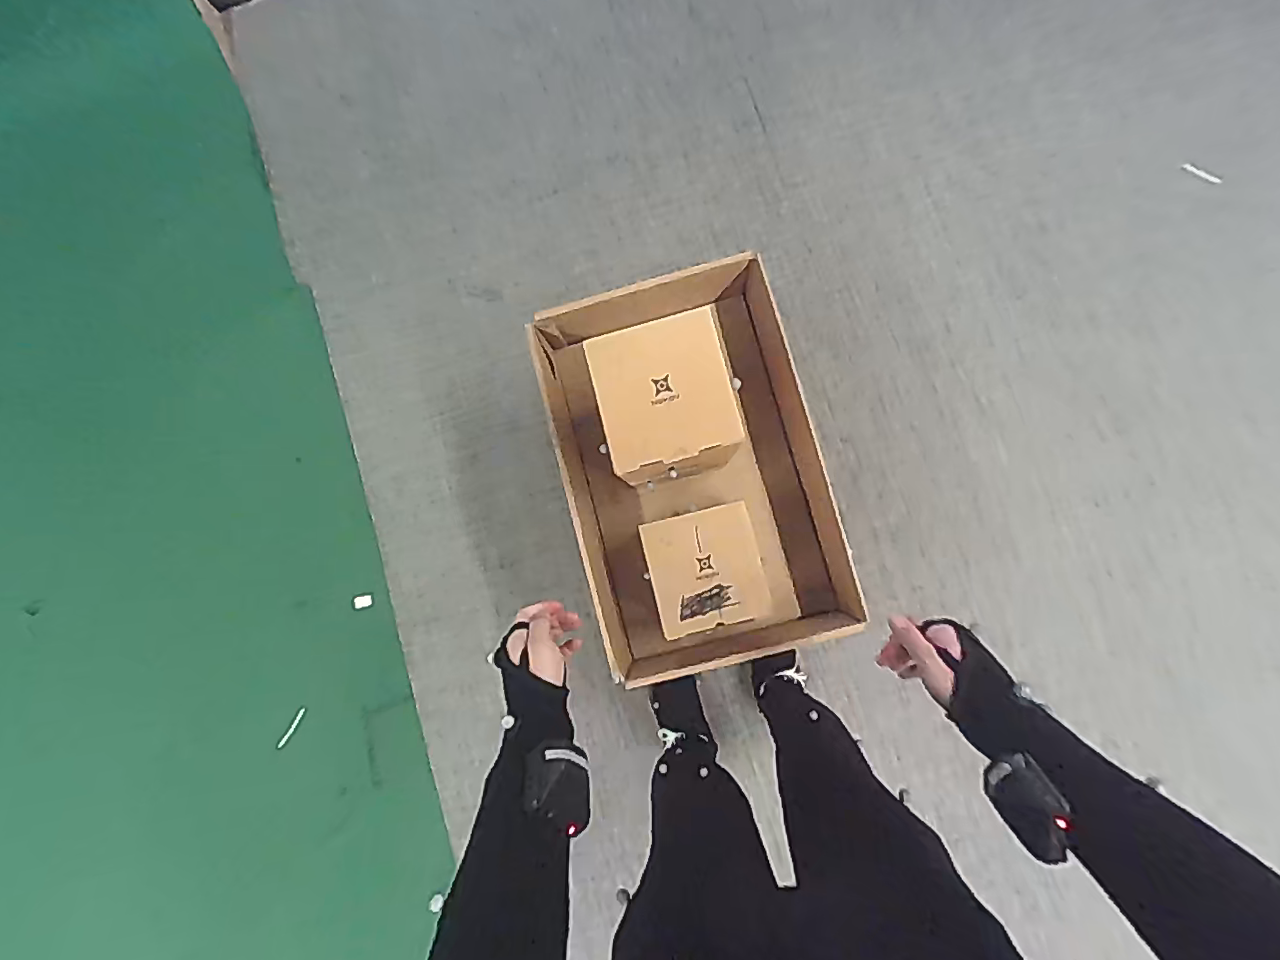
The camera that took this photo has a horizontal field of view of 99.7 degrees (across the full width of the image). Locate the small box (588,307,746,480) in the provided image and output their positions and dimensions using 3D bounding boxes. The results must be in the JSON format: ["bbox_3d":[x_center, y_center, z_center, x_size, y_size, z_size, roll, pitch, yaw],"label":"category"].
[{"bbox_3d":[0.035,-0.107,0.743,0.168,0.176,0.179,-15,86,3],"label":"small box"}]

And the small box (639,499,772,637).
[{"bbox_3d":[0.103,0.137,0.875,0.168,0.176,0.179,-14,82,3],"label":"small box"}]
